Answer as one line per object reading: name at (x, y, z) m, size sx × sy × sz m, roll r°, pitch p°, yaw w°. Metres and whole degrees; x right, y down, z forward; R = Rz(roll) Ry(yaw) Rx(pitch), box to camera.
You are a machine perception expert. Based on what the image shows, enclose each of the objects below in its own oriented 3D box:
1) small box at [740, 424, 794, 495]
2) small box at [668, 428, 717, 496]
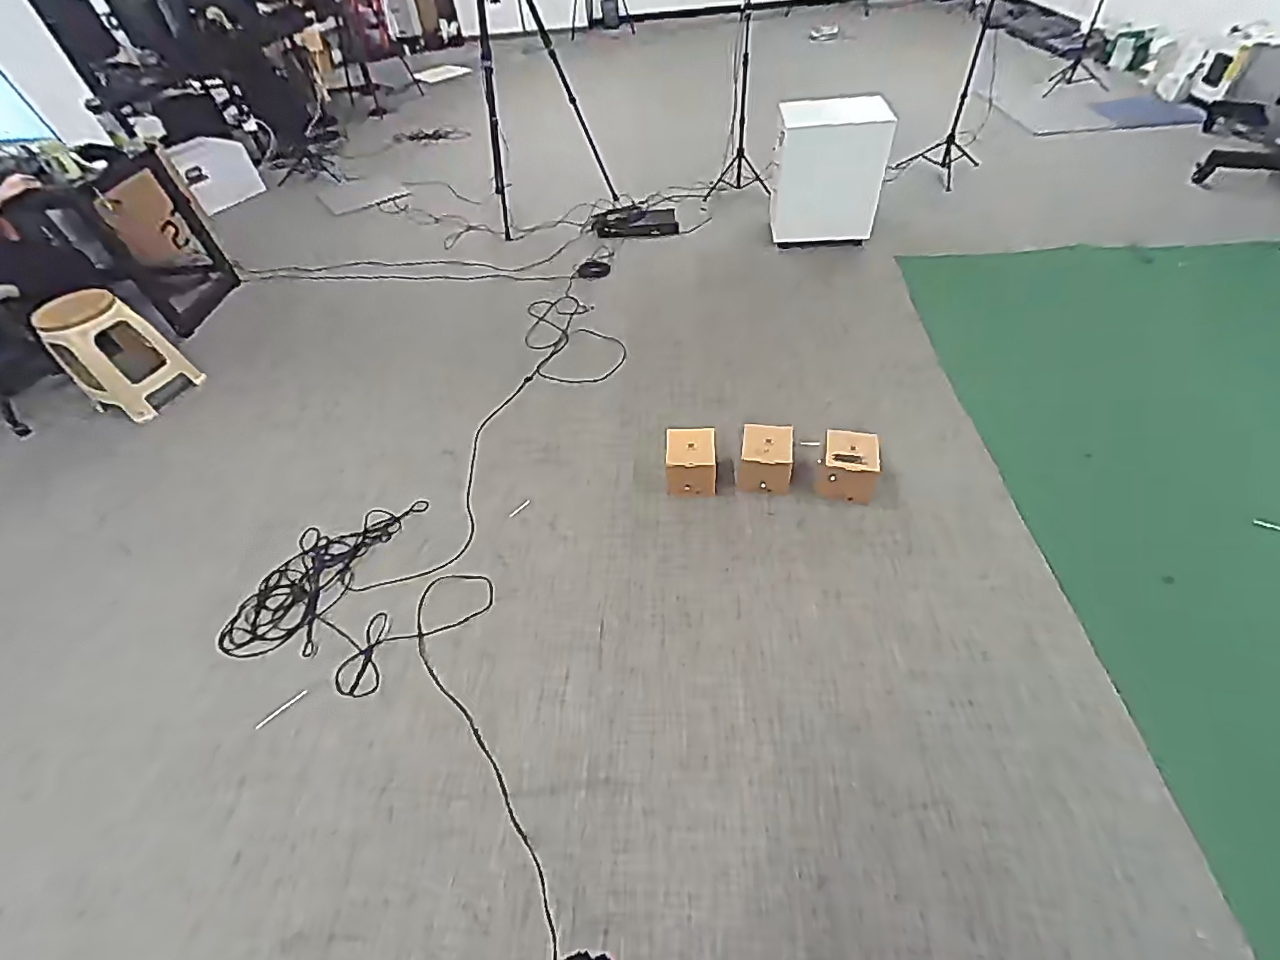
small box at (0.439, -0.072, 1.877) m, size 0.168 × 0.176 × 0.179 m, roll 5°, pitch 50°, yaw 11°
small box at (0.183, -0.062, 1.897) m, size 0.168 × 0.176 × 0.179 m, roll 0°, pitch 49°, yaw 6°
